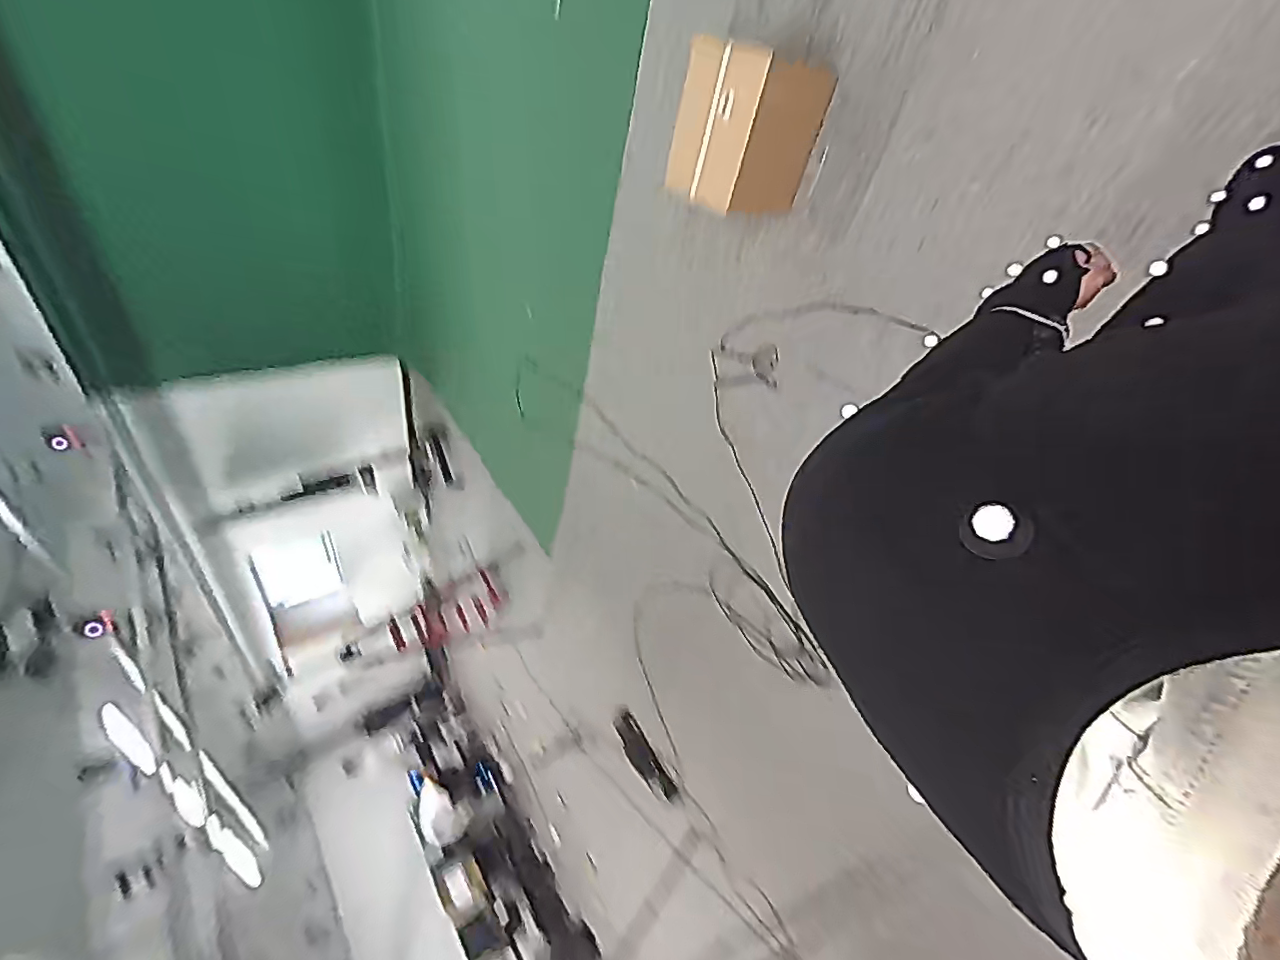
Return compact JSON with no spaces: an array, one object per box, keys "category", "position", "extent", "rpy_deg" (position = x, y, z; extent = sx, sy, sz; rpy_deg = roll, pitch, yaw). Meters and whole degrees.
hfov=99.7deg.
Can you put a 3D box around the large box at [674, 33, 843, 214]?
[{"category":"large box","position":[0.356,-1.099,1.697],"extent":[0.320,0.320,0.408],"rpy_deg":[46,138,32]}]
